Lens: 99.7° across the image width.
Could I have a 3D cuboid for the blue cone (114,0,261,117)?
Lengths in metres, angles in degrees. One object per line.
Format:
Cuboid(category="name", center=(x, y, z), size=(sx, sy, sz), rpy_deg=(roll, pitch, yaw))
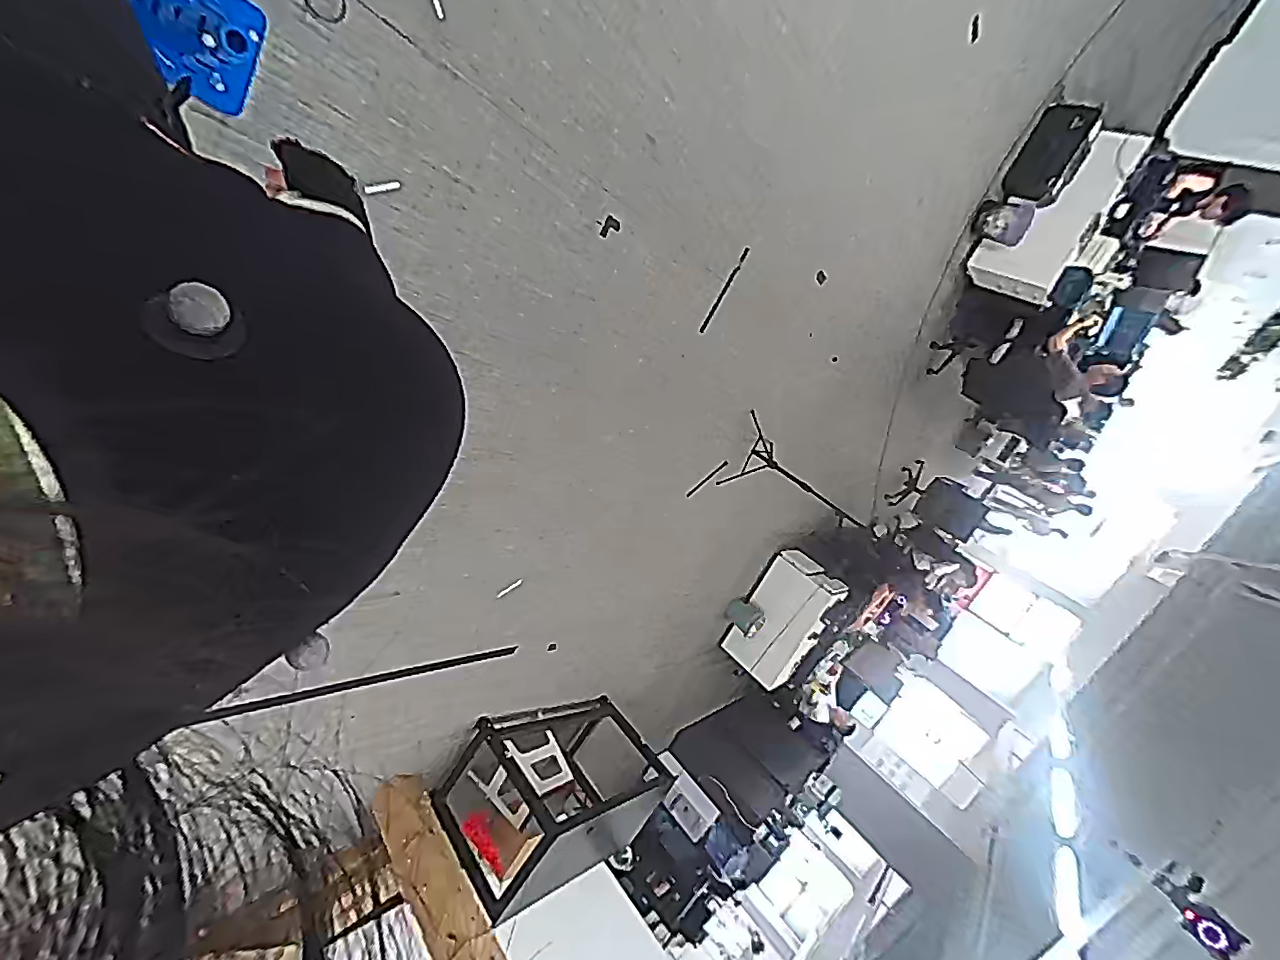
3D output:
Cuboid(category="blue cone", center=(-0.683, -0.697, 0.868), size=(0.193, 0.380, 0.192), rpy_deg=(6, 115, -53))
